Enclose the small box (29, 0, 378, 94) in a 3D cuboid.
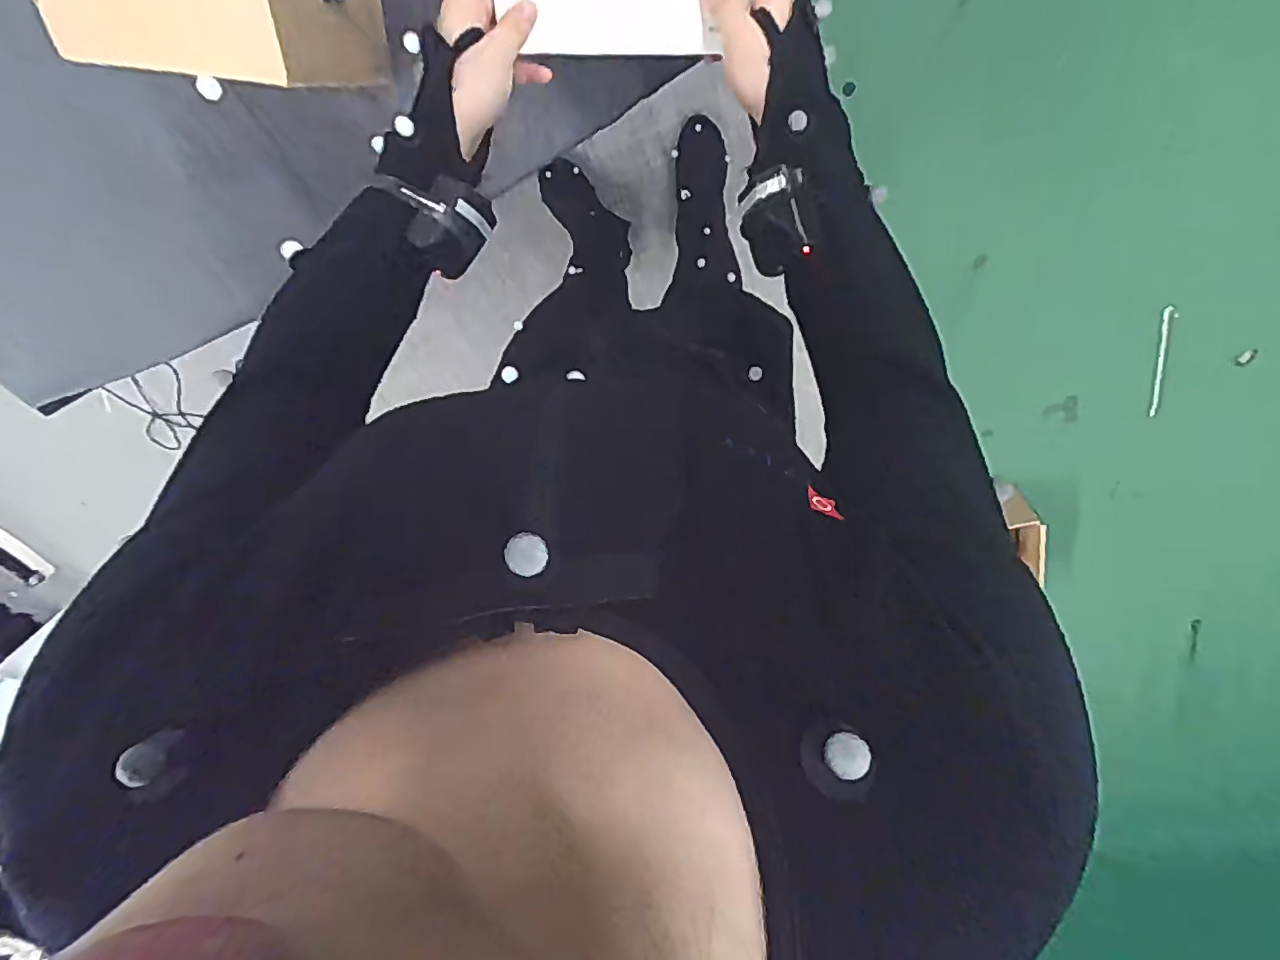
[{"bbox_3d":[-0.320,-0.402,0.401,0.179,0.176,0.168,8,129,2],"label":"small box"}]
